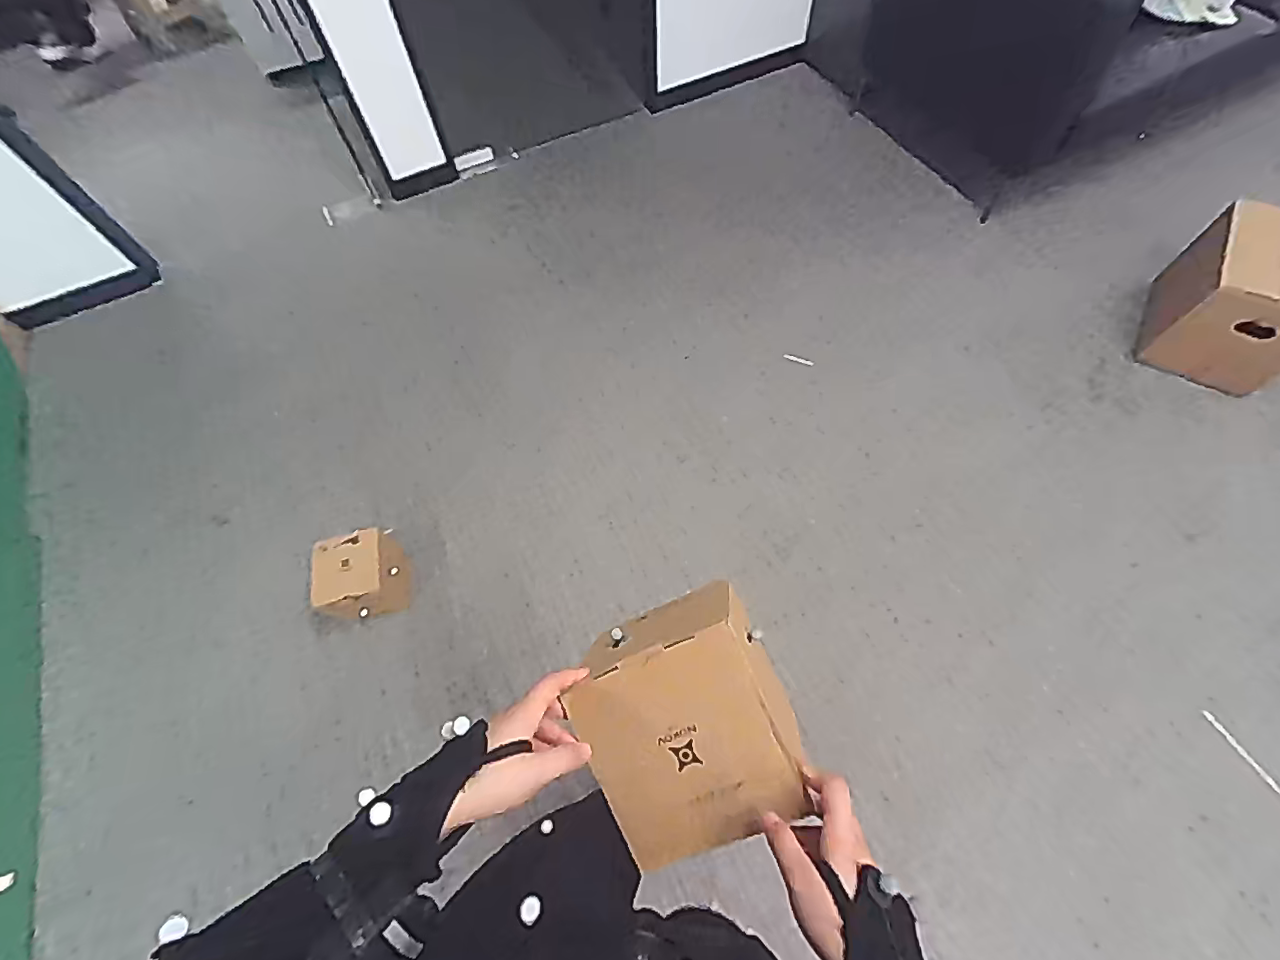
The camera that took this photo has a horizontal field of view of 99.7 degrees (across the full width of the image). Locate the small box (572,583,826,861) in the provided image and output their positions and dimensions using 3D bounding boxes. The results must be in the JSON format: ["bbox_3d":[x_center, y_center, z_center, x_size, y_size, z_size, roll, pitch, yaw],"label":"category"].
[{"bbox_3d":[0.058,0.216,0.538,0.168,0.176,0.179,-27,88,10],"label":"small box"}]

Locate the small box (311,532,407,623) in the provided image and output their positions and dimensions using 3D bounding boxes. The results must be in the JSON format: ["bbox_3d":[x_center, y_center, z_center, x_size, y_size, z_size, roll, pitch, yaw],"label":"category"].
[{"bbox_3d":[-0.719,0.260,1.398,0.168,0.176,0.179,-14,64,-5],"label":"small box"}]
